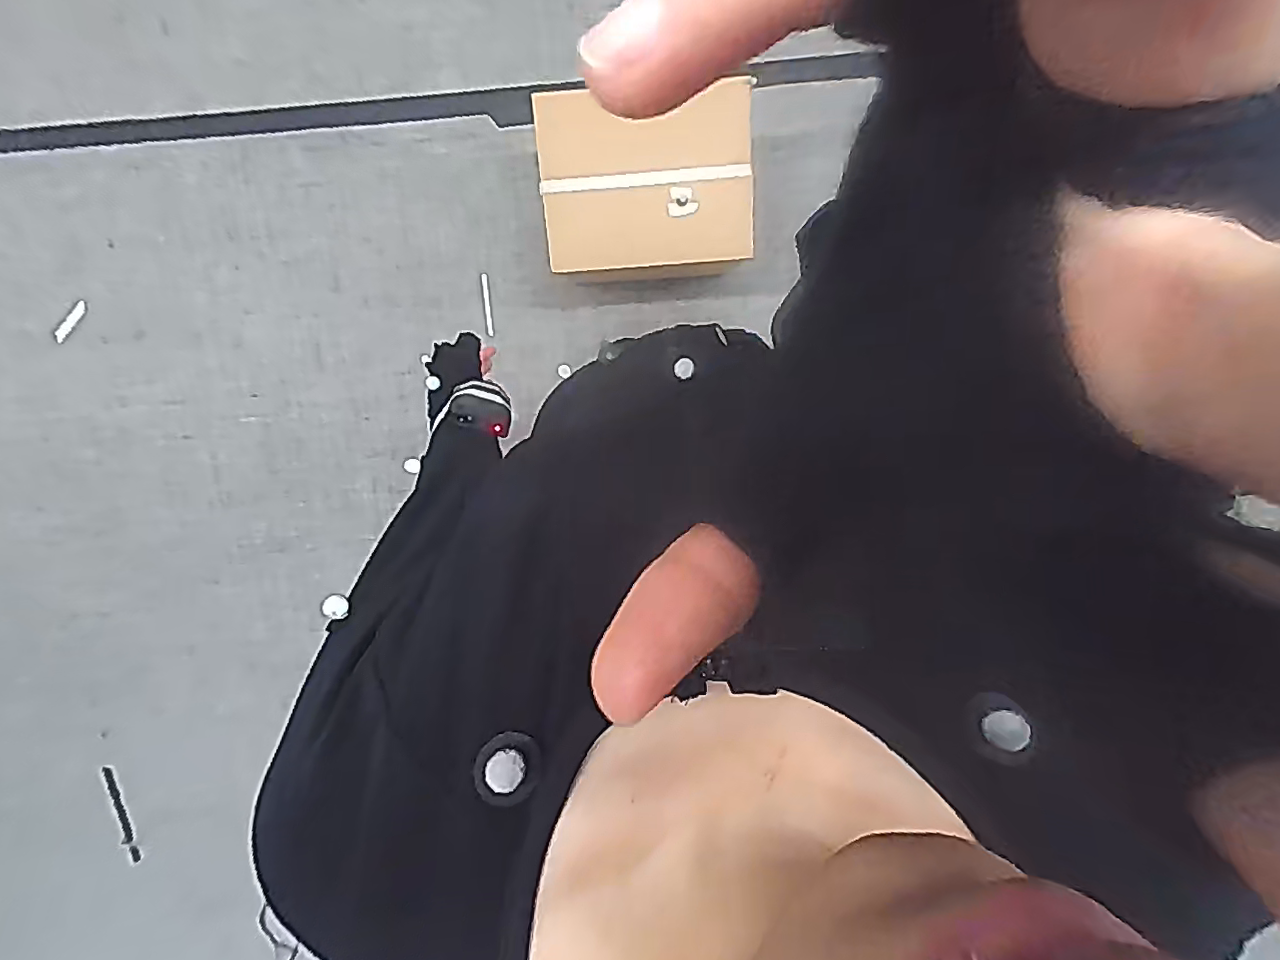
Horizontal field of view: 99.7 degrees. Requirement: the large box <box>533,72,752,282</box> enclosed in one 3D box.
[{"bbox_3d":[0.008,-0.622,1.173,0.408,0.320,0.320,-4,106,0],"label":"large box"}]
